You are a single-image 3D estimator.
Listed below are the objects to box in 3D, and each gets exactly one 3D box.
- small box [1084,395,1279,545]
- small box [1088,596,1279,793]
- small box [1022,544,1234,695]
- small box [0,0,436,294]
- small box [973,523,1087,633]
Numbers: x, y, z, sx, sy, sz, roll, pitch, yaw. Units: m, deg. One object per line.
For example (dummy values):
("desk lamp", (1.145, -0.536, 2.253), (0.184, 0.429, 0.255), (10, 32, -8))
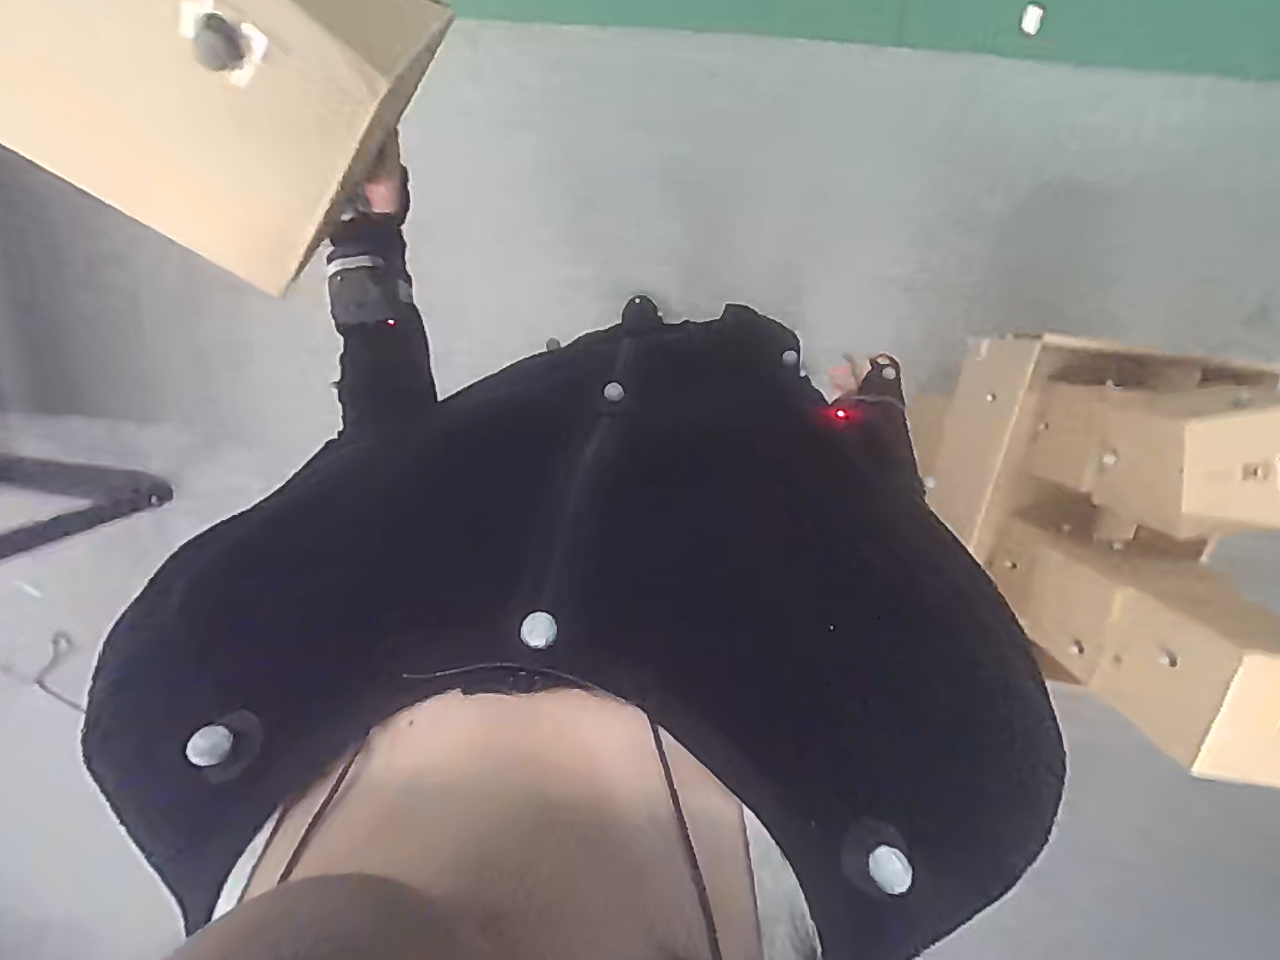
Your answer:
("small box", (0.791, -0.023, 0.773), (0.179, 0.176, 0.168), (-8, 104, 7))
("small box", (0.734, 0.262, 0.688), (0.179, 0.176, 0.168), (8, 104, 1))
("small box", (0.738, 0.213, 0.843), (0.168, 0.176, 0.179), (0, 104, 2))
("small box", (-0.239, -0.255, 0.311), (0.168, 0.179, 0.176), (28, 131, -34))
("small box", (0.769, 0.195, 1.006), (0.179, 0.176, 0.168), (18, 106, 0))
